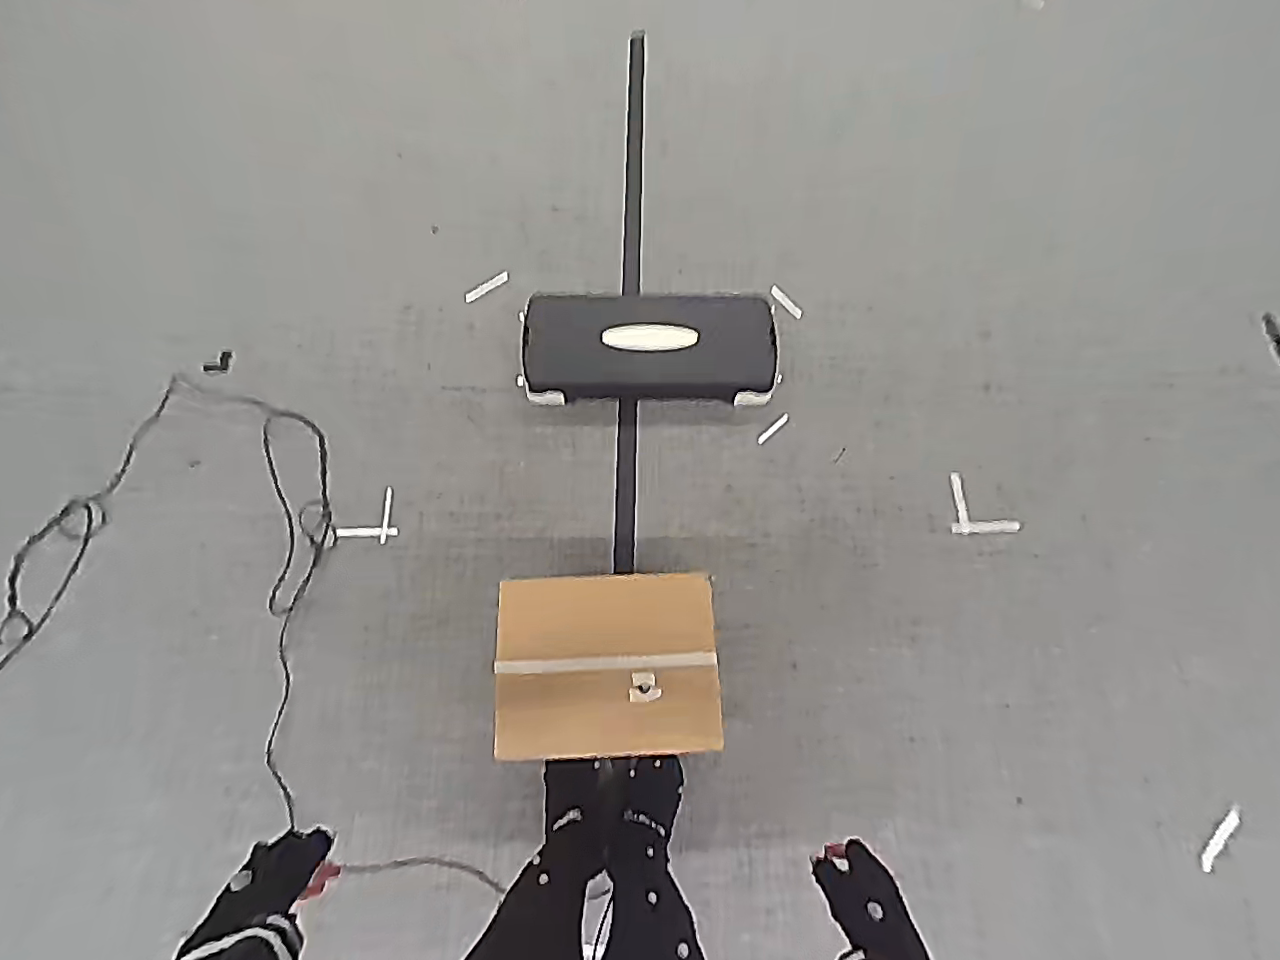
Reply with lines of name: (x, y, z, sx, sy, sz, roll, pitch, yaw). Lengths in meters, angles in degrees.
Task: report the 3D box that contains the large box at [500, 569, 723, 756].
large box: (-0.061, 0.371, 1.138, 0.408, 0.320, 0.320, -2, 74, -2)
